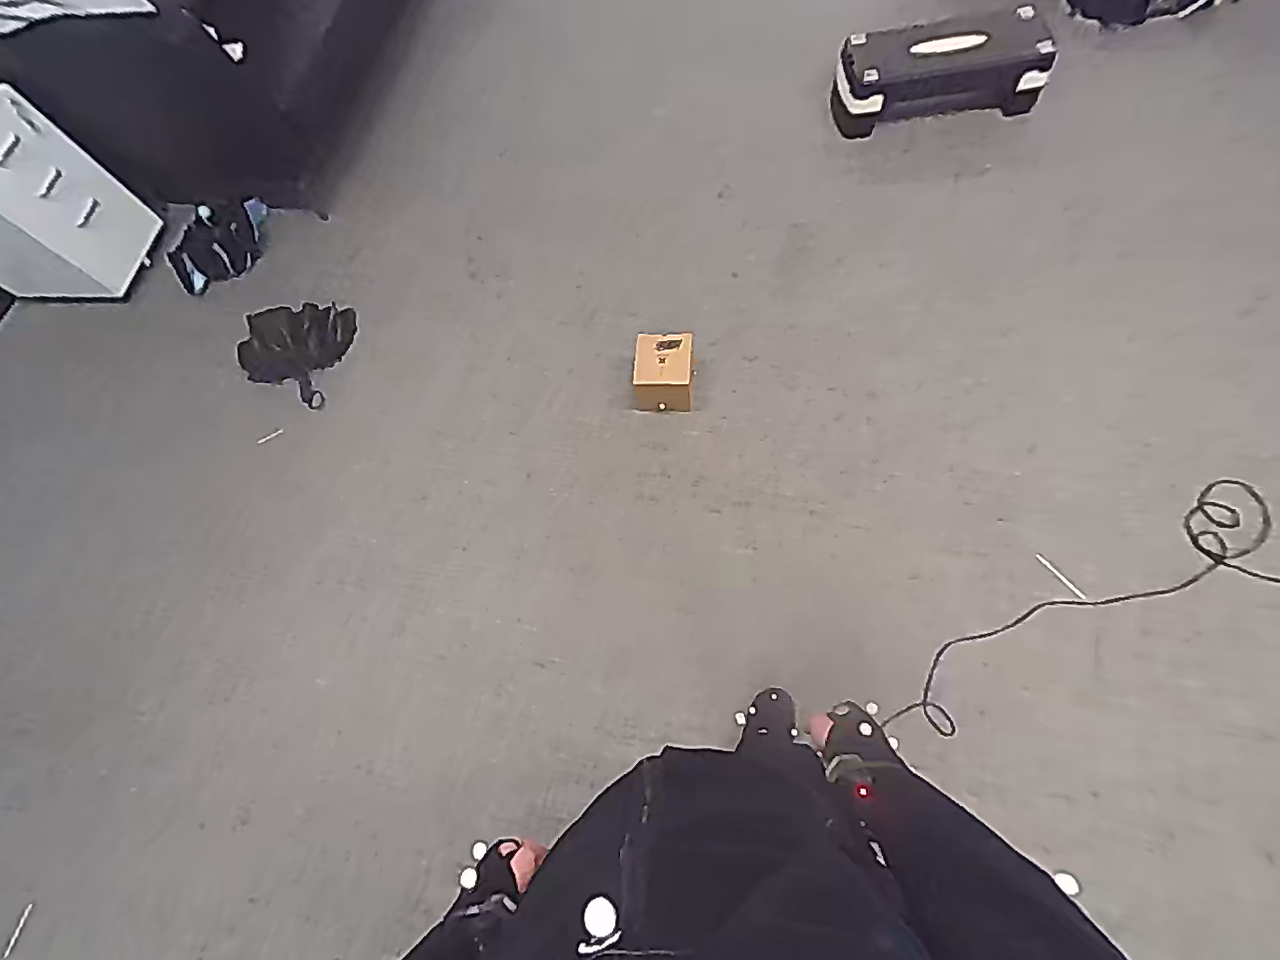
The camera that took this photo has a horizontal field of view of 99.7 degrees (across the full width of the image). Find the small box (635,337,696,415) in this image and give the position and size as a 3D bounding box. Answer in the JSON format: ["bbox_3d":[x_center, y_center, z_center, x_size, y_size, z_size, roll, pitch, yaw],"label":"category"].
[{"bbox_3d":[0.082,-0.316,1.650,0.168,0.176,0.179,2,69,9],"label":"small box"}]
